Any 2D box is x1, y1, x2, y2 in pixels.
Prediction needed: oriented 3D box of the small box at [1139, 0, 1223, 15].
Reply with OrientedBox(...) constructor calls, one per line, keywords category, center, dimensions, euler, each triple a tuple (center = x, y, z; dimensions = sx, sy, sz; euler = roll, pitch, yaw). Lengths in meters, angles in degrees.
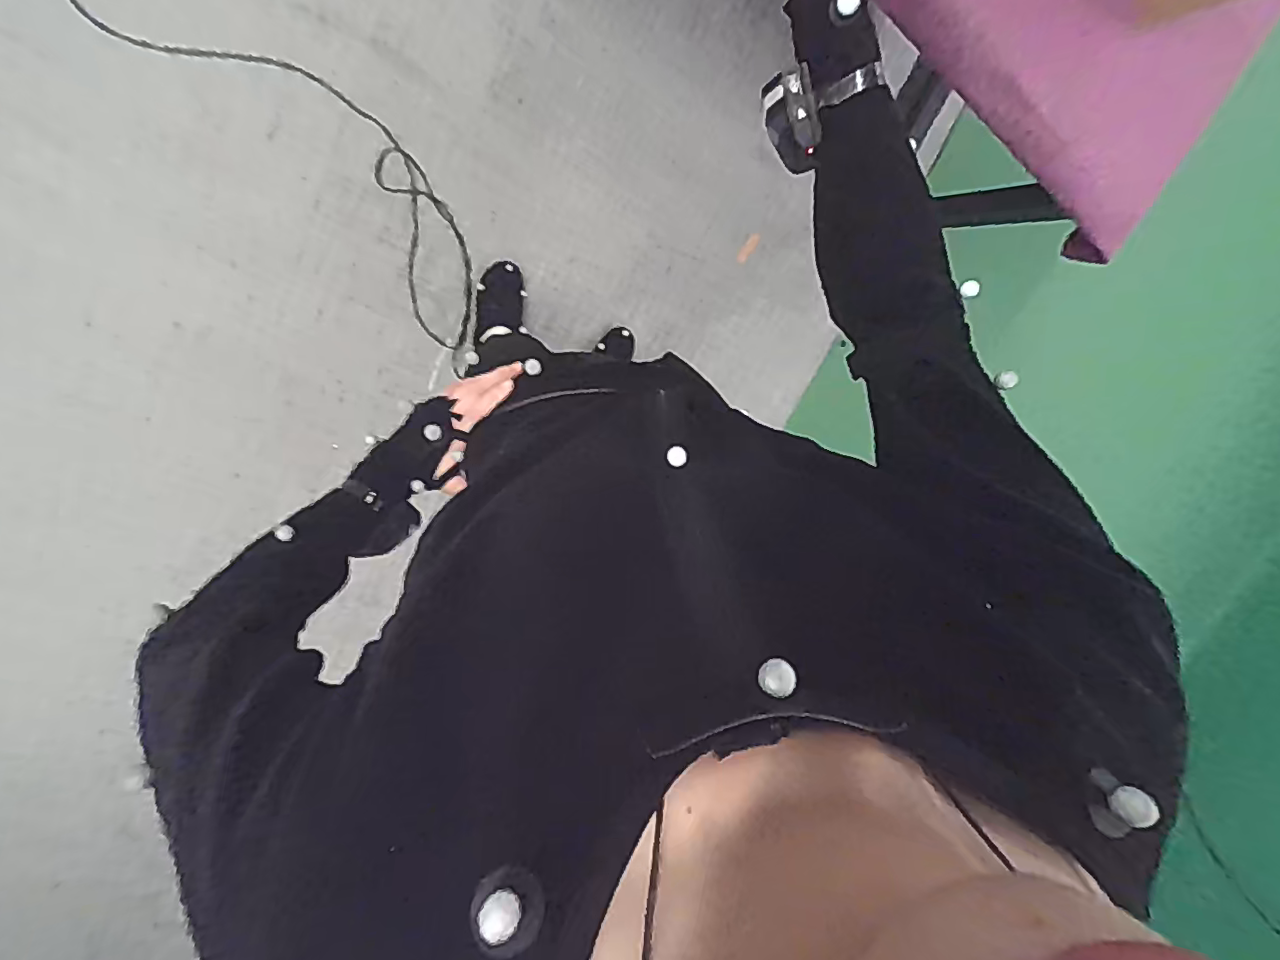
OrientedBox(category="small box", center=(0.722, -0.711, 0.642), dimensions=(0.179, 0.176, 0.168), euler=(32, 97, -25))
